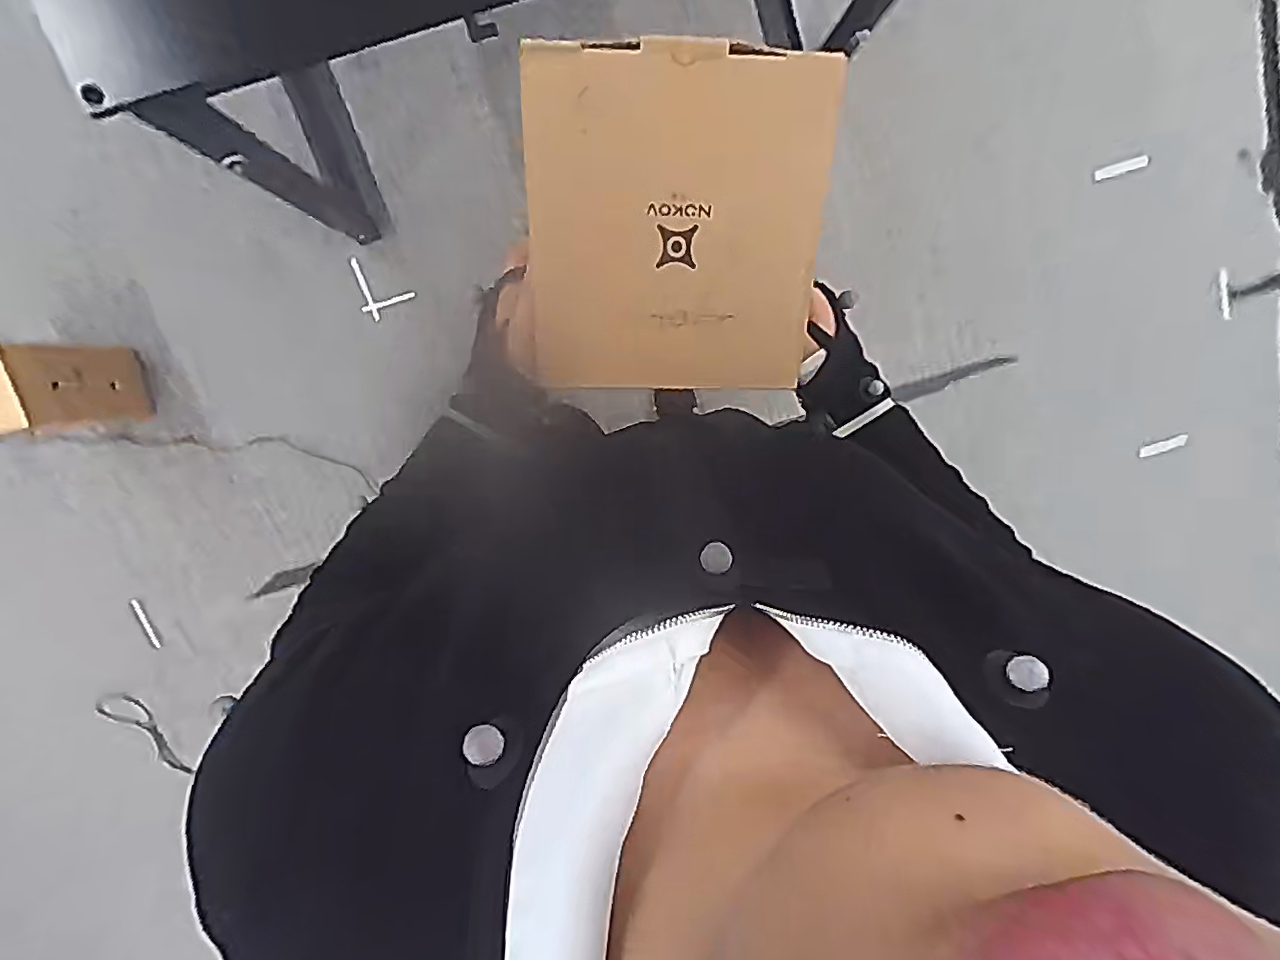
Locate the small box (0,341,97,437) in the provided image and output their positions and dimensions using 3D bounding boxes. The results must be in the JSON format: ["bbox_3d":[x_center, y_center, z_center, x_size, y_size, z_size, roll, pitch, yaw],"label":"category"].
[{"bbox_3d":[-1.266,-0.181,1.090,0.179,0.176,0.168,-12,100,-2],"label":"small box"}]

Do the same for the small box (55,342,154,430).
[{"bbox_3d":[-1.292,-0.214,1.250,0.168,0.176,0.179,-9,102,-3],"label":"small box"}]

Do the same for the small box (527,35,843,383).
[{"bbox_3d":[0.018,-0.175,0.377,0.168,0.176,0.179,-1,117,-3],"label":"small box"}]
